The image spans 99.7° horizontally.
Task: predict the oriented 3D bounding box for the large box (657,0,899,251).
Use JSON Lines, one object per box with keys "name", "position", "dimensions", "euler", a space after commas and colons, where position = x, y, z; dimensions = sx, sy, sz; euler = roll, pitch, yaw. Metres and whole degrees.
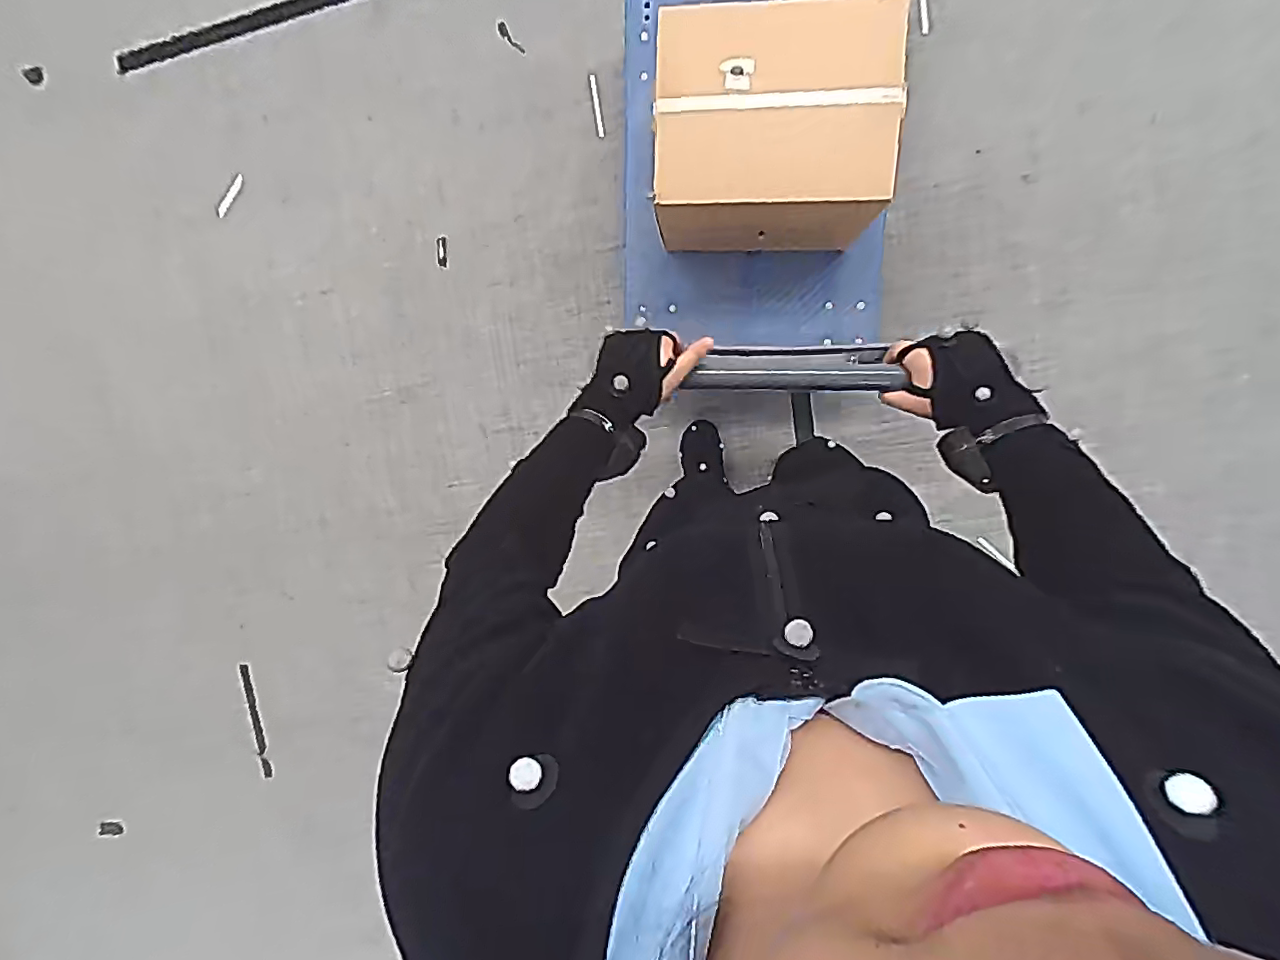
{"name": "large box", "position": [0.250, -0.659, 1.072], "dimensions": [0.408, 0.320, 0.320], "euler": [2, 97, 8]}
